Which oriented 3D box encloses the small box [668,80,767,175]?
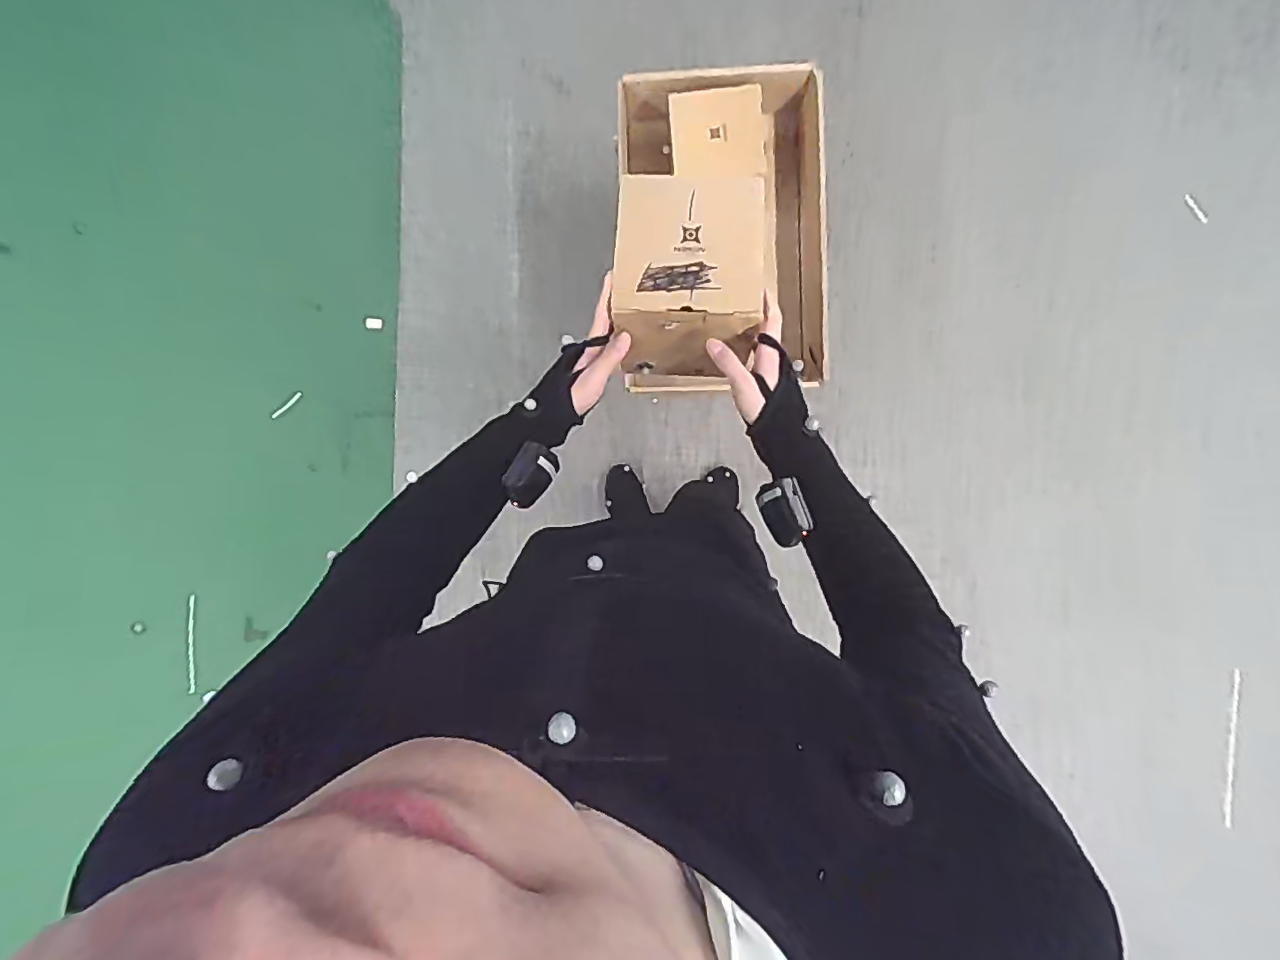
[{"bbox_3d":[0.149,-0.654,1.085,0.179,0.176,0.168,-5,91,2],"label":"small box"}]

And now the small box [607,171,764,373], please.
[{"bbox_3d":[0.056,-0.245,0.668,0.168,0.176,0.179,3,77,3],"label":"small box"}]
